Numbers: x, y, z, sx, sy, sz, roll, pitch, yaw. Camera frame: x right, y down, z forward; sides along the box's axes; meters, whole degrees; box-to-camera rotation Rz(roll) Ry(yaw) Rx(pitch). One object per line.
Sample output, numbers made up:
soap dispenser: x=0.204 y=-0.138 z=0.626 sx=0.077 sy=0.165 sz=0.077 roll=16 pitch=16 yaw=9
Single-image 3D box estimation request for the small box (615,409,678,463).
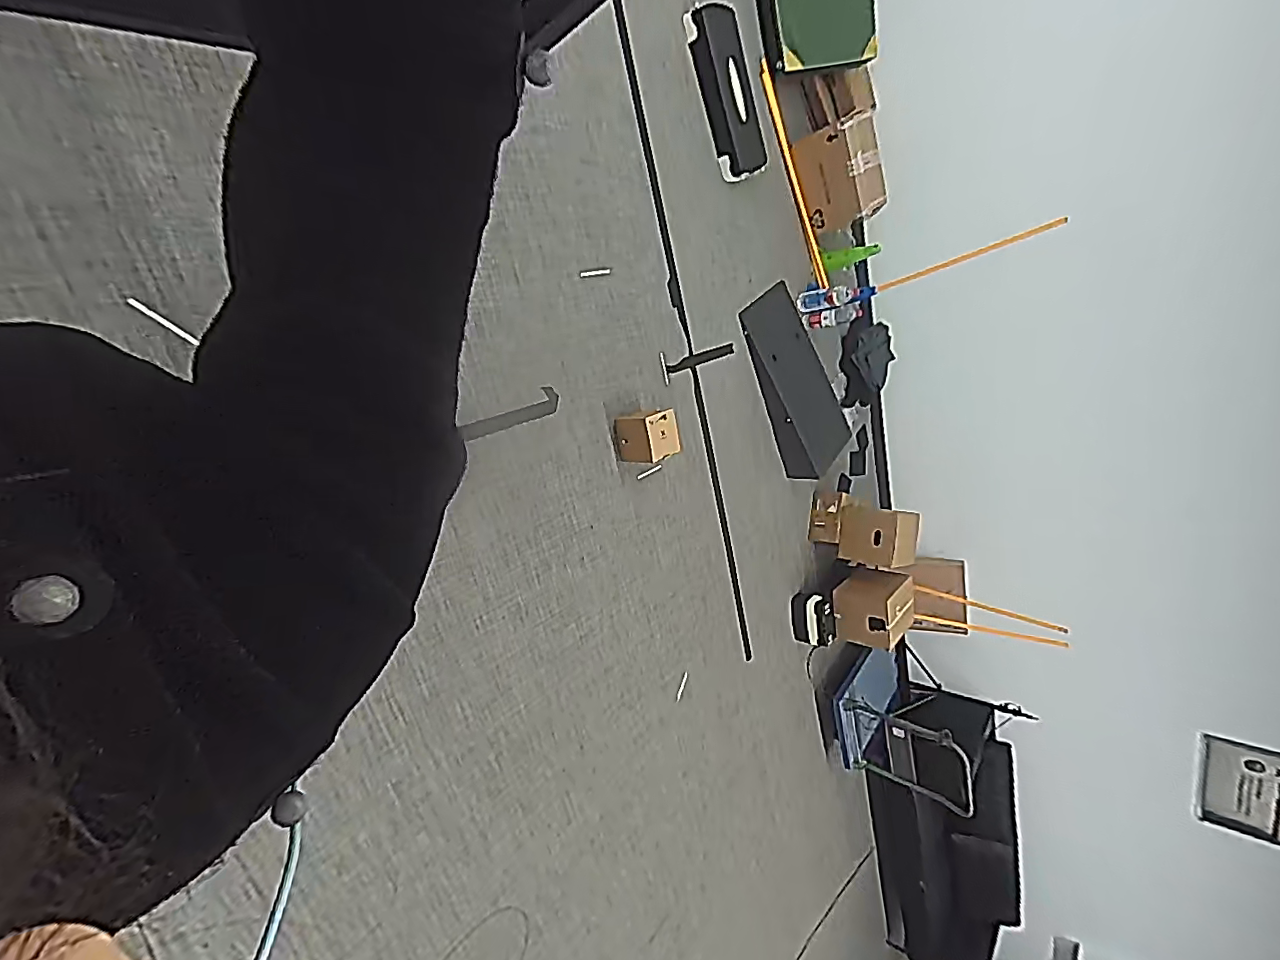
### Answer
small box: x=0.024 y=-0.174 z=2.104 sx=0.168 sy=0.176 sz=0.179 roll=-25 pitch=111 yaw=-43
